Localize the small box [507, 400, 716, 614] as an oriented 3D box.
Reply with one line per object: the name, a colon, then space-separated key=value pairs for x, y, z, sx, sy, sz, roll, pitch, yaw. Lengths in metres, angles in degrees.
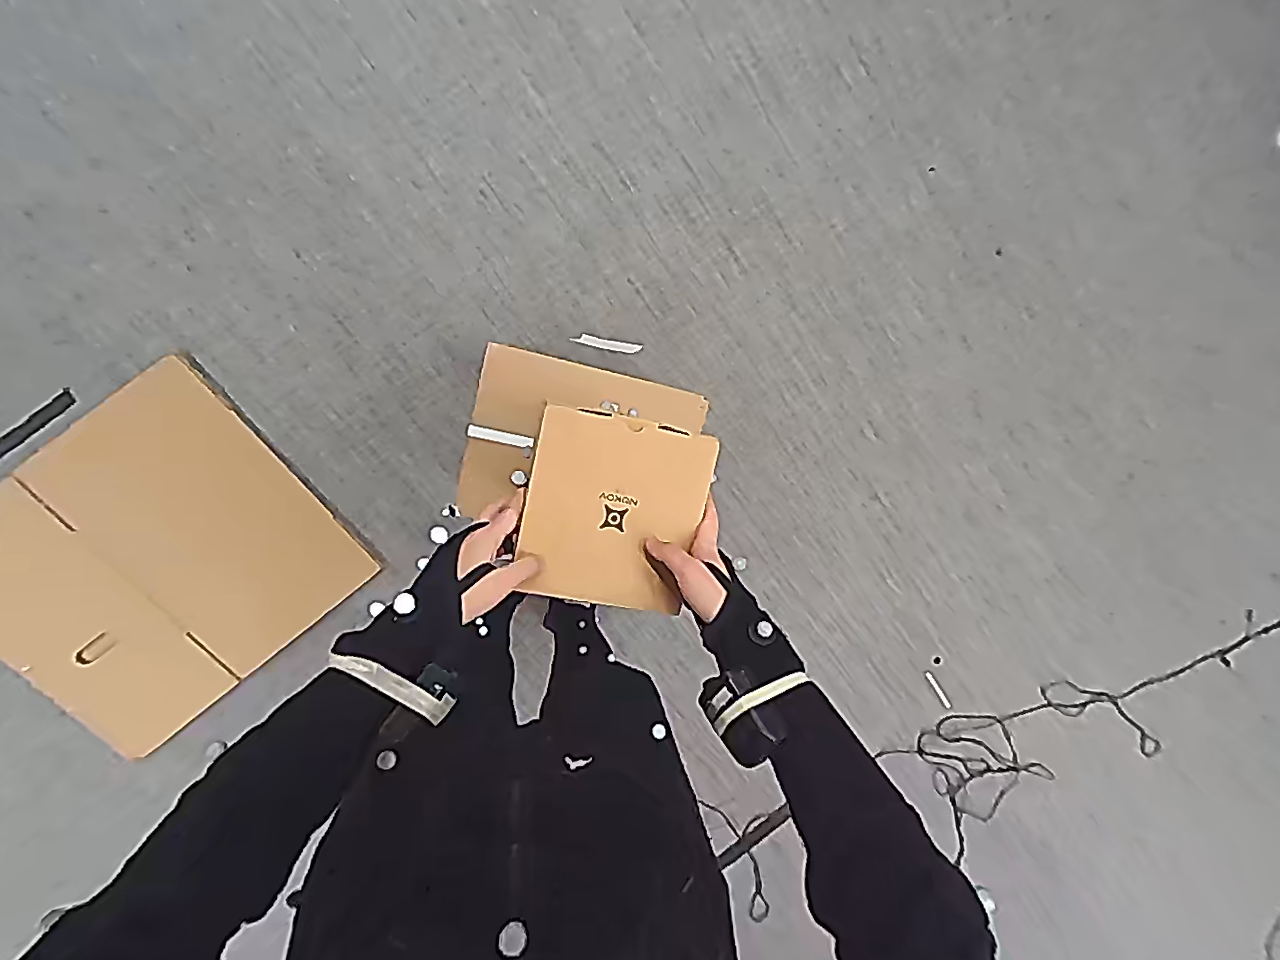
small box: x=-0.037 y=0.020 z=0.574 sx=0.168 sy=0.176 sz=0.179 roll=11 pitch=94 yaw=-11
